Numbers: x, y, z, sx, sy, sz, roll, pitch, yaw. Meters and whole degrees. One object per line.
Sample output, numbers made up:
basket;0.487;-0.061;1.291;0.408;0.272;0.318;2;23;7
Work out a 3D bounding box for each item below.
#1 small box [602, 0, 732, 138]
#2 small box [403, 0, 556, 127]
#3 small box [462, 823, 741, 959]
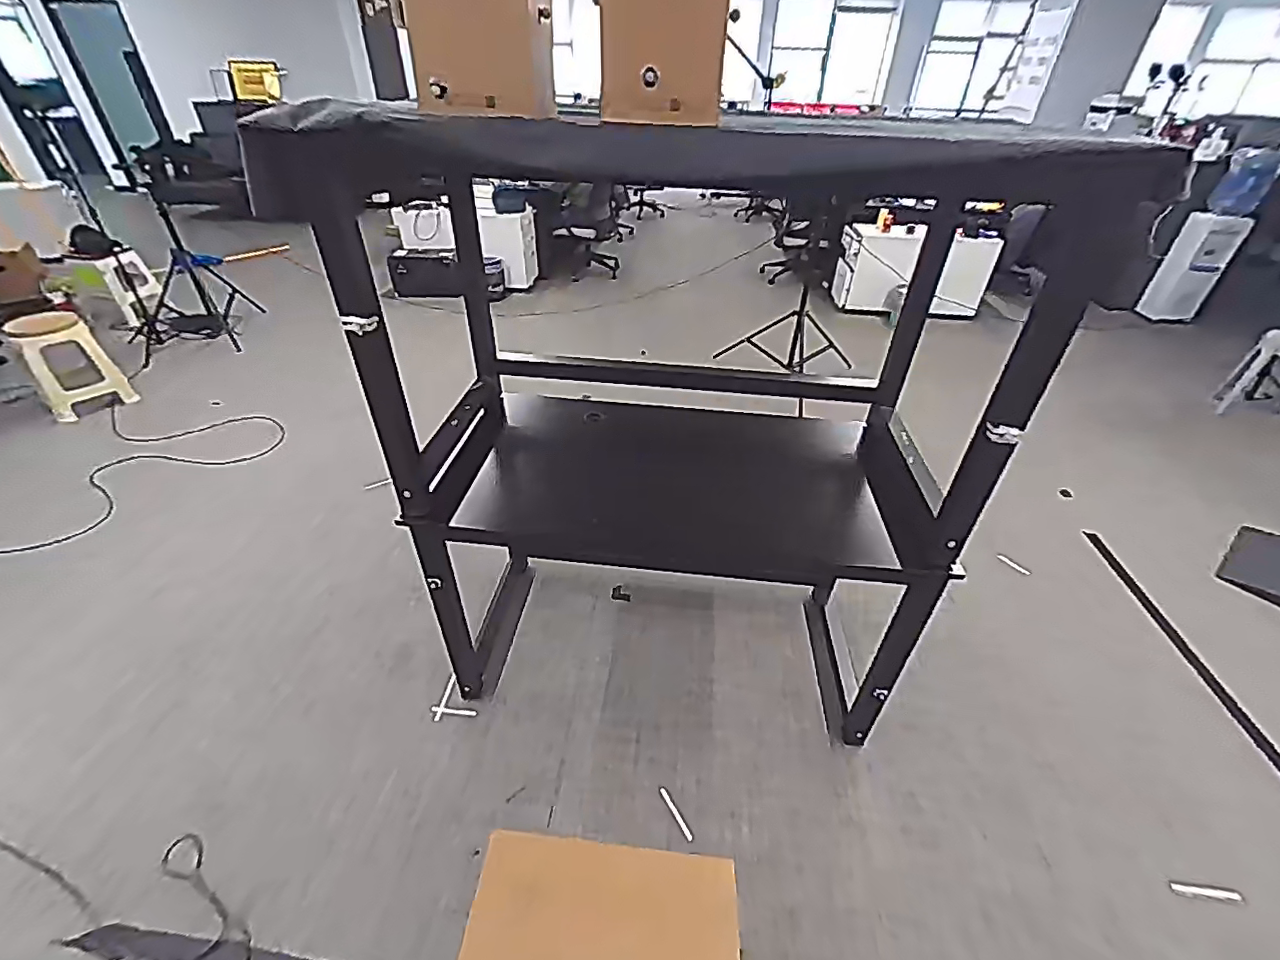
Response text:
small box;0.037;-0.596;0.771;0.168;0.176;0.179;4;35;4
small box;-0.218;-0.614;0.783;0.168;0.176;0.179;4;34;1
small box;-0.031;0.358;0.345;0.168;0.176;0.179;7;37;1
